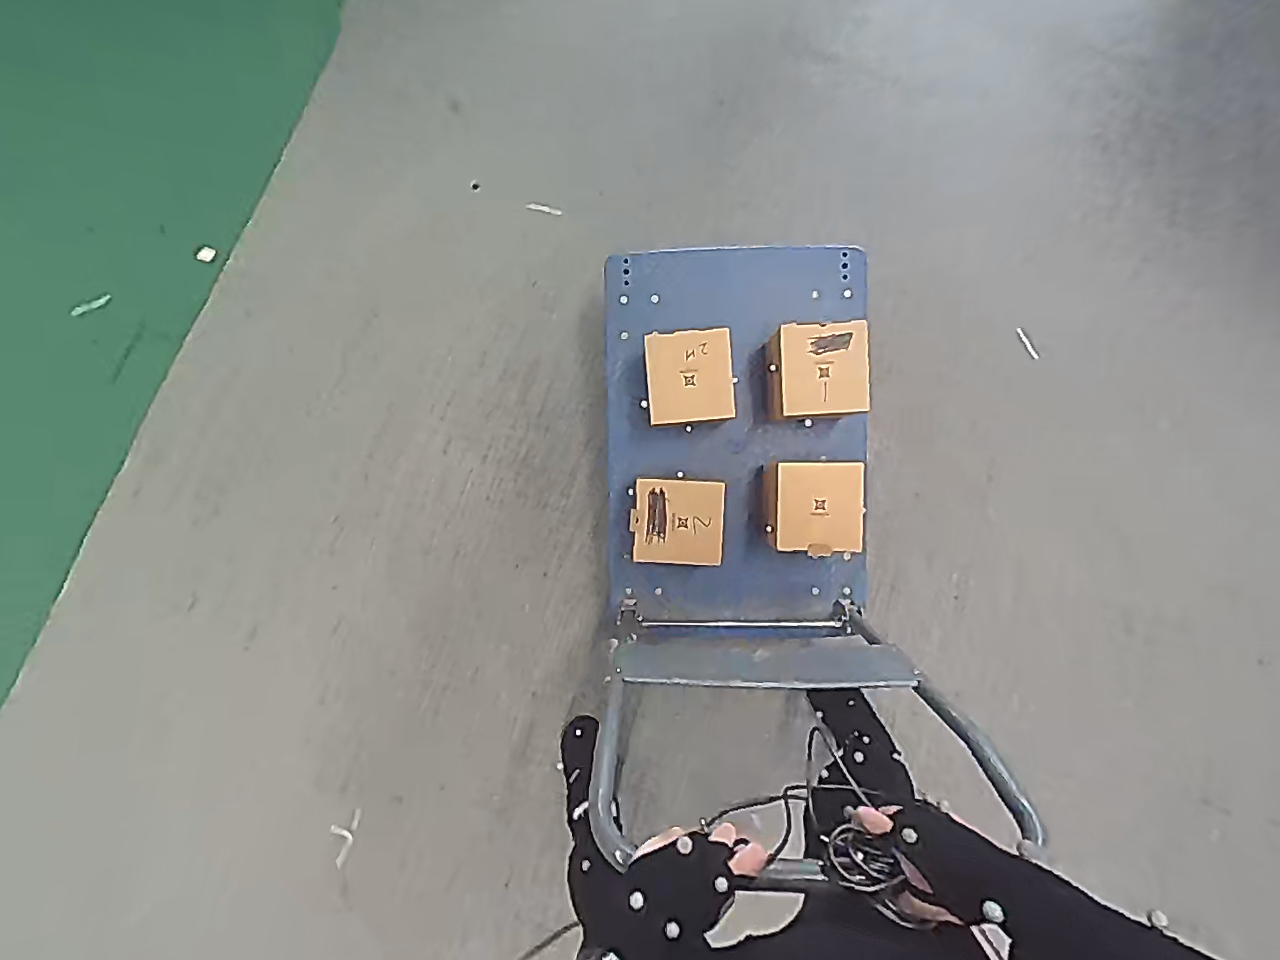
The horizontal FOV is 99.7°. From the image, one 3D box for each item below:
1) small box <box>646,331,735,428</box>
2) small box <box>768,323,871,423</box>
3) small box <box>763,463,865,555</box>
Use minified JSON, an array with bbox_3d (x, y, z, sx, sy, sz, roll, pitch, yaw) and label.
[{"bbox_3d":[0.102,-0.199,1.121,0.168,0.176,0.179,-4,92,3],"label":"small box"},{"bbox_3d":[0.358,-0.211,1.106,0.168,0.176,0.179,-2,93,4],"label":"small box"},{"bbox_3d":[0.352,0.054,1.118,0.168,0.176,0.179,1,93,4],"label":"small box"}]
